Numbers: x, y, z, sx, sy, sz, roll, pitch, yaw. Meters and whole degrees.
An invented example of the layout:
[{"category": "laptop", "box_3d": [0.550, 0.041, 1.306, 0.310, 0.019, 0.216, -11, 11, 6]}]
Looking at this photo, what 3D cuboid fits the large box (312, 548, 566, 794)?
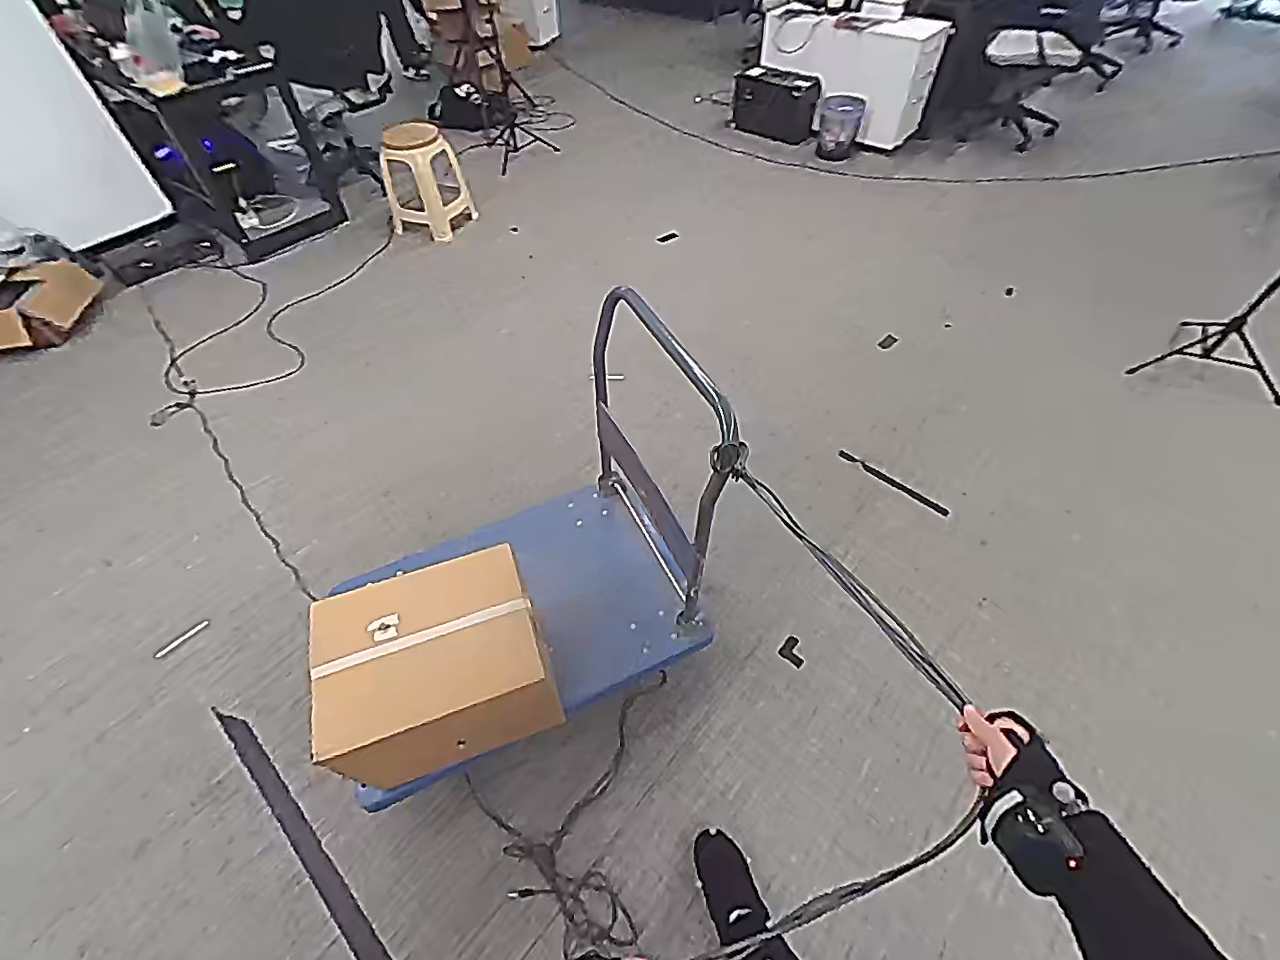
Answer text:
[{"category": "large box", "box_3d": [-0.406, 0.404, 1.141, 0.408, 0.320, 0.320, -18, 53, -12]}]
